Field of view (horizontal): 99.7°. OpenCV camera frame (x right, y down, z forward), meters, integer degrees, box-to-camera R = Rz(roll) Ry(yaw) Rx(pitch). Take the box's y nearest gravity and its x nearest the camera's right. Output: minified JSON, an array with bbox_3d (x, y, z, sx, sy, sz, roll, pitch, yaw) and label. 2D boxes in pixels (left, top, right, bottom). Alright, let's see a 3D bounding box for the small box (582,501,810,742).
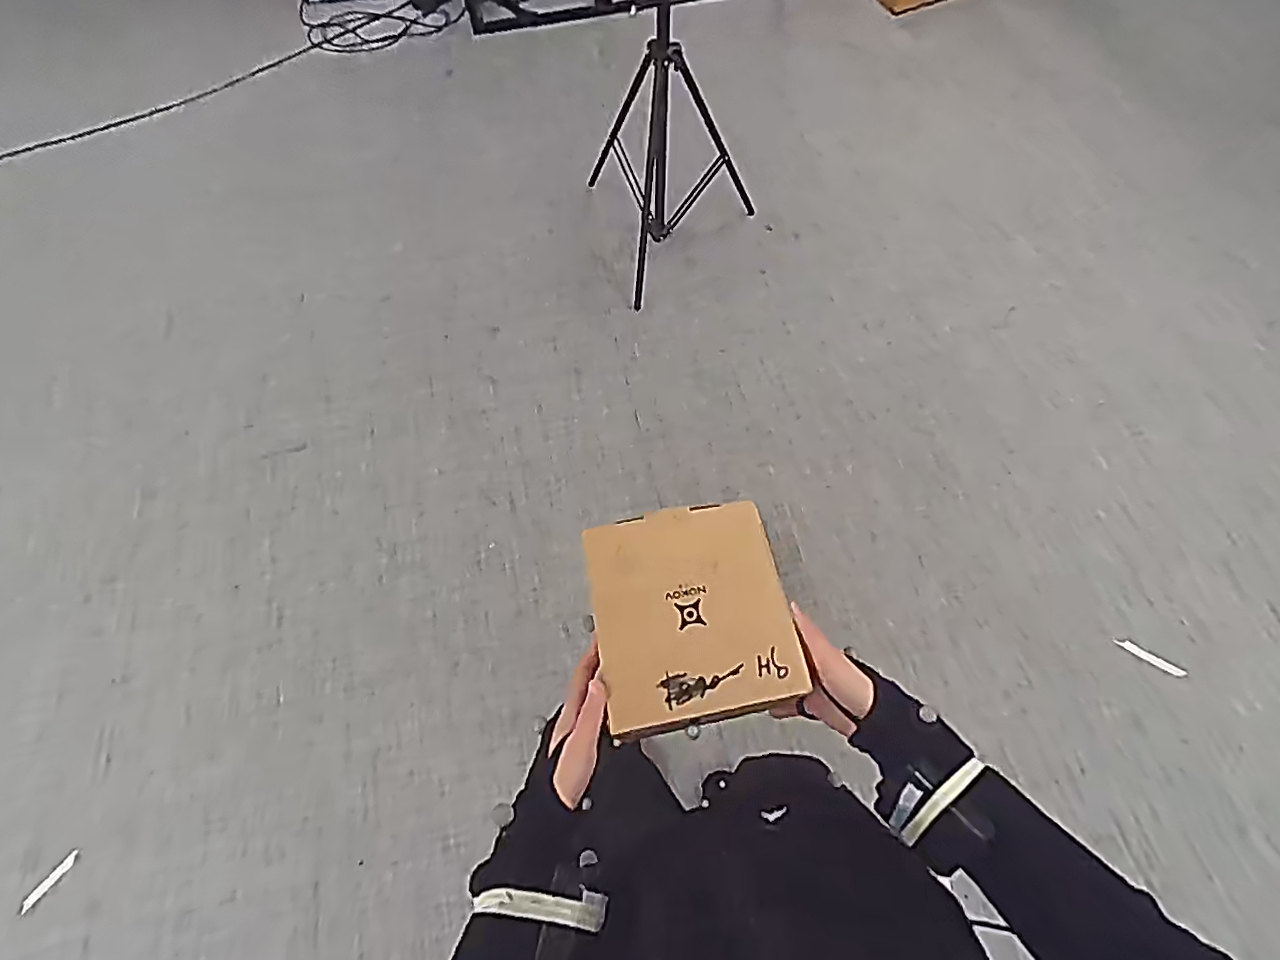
[{"bbox_3d":[0.039,0.144,0.528,0.168,0.176,0.179,-10,63,-5],"label":"small box"}]
